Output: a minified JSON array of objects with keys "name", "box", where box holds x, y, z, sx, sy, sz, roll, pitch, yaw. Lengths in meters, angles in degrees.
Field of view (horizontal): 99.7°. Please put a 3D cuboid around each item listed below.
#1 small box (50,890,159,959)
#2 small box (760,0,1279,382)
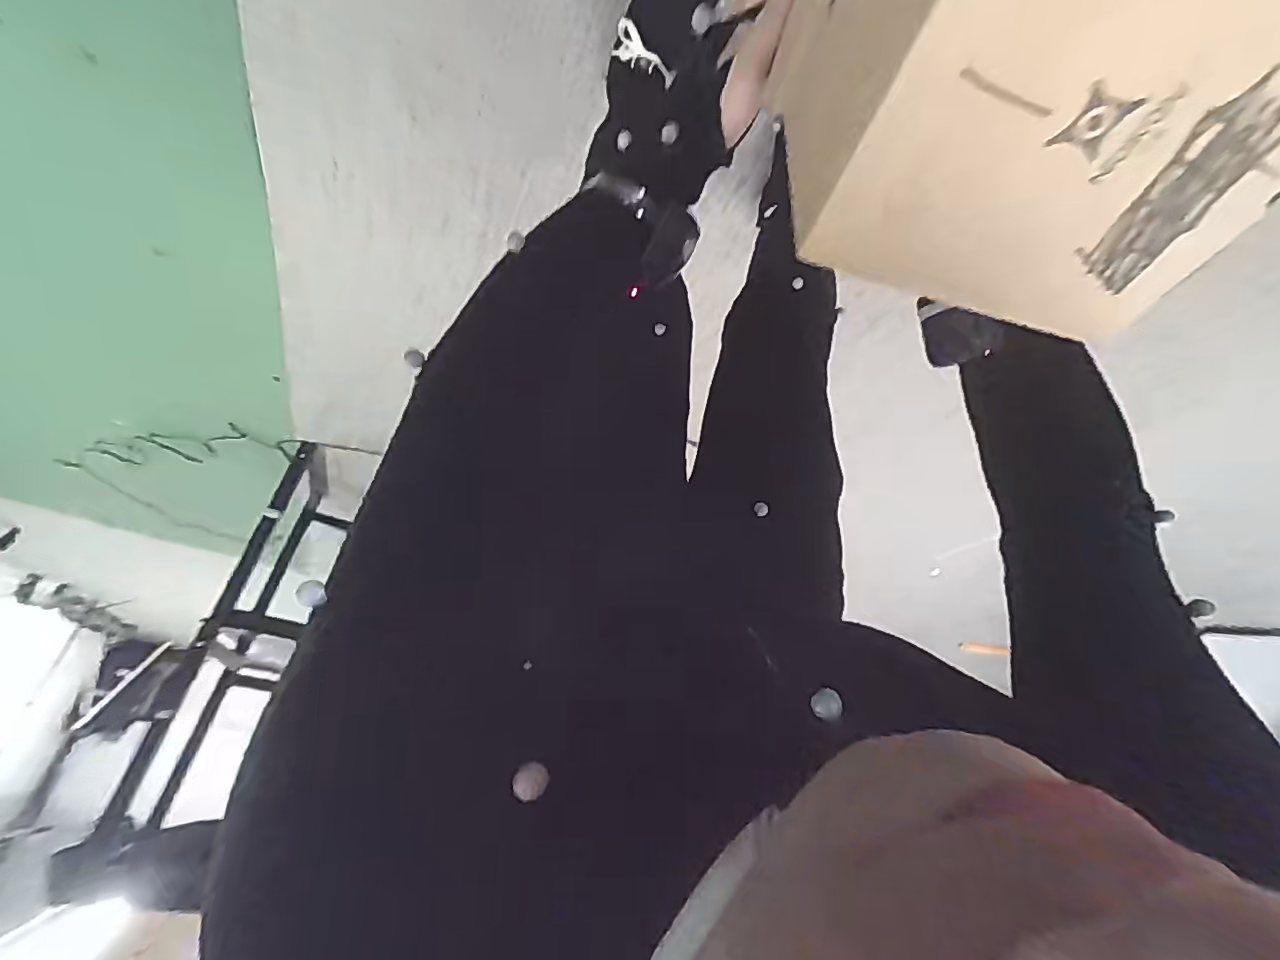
[{"name":"small box","box":[-1.486,1.264,1.503,0.179,0.176,0.168,23,148,-23]},{"name":"small box","box":[0.167,-0.176,0.238,0.179,0.176,0.168,14,146,-8]}]
